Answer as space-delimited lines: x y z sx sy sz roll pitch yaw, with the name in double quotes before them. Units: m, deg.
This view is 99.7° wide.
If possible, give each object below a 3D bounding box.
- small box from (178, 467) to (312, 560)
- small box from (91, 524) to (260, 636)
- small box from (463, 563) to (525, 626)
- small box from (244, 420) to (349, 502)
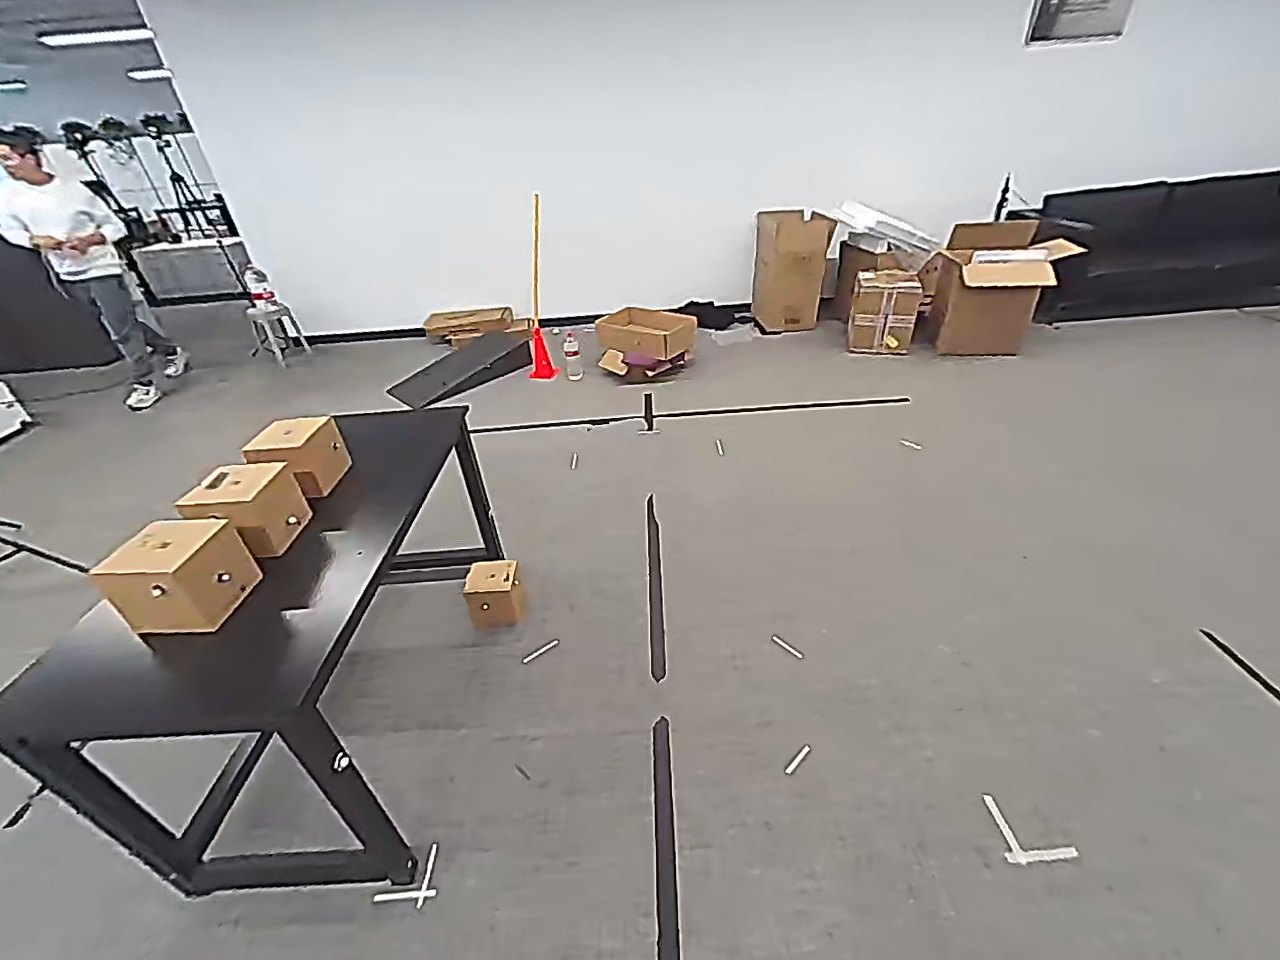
"small box" -0.951 0.085 1.320 0.179 0.176 0.168 -4 33 0
"small box" -0.953 0.209 1.133 0.179 0.176 0.168 -3 33 4
"small box" -0.549 0.437 2.057 0.179 0.176 0.168 -5 34 1
"small box" -0.955 -0.050 1.529 0.168 0.176 0.179 -6 34 2
